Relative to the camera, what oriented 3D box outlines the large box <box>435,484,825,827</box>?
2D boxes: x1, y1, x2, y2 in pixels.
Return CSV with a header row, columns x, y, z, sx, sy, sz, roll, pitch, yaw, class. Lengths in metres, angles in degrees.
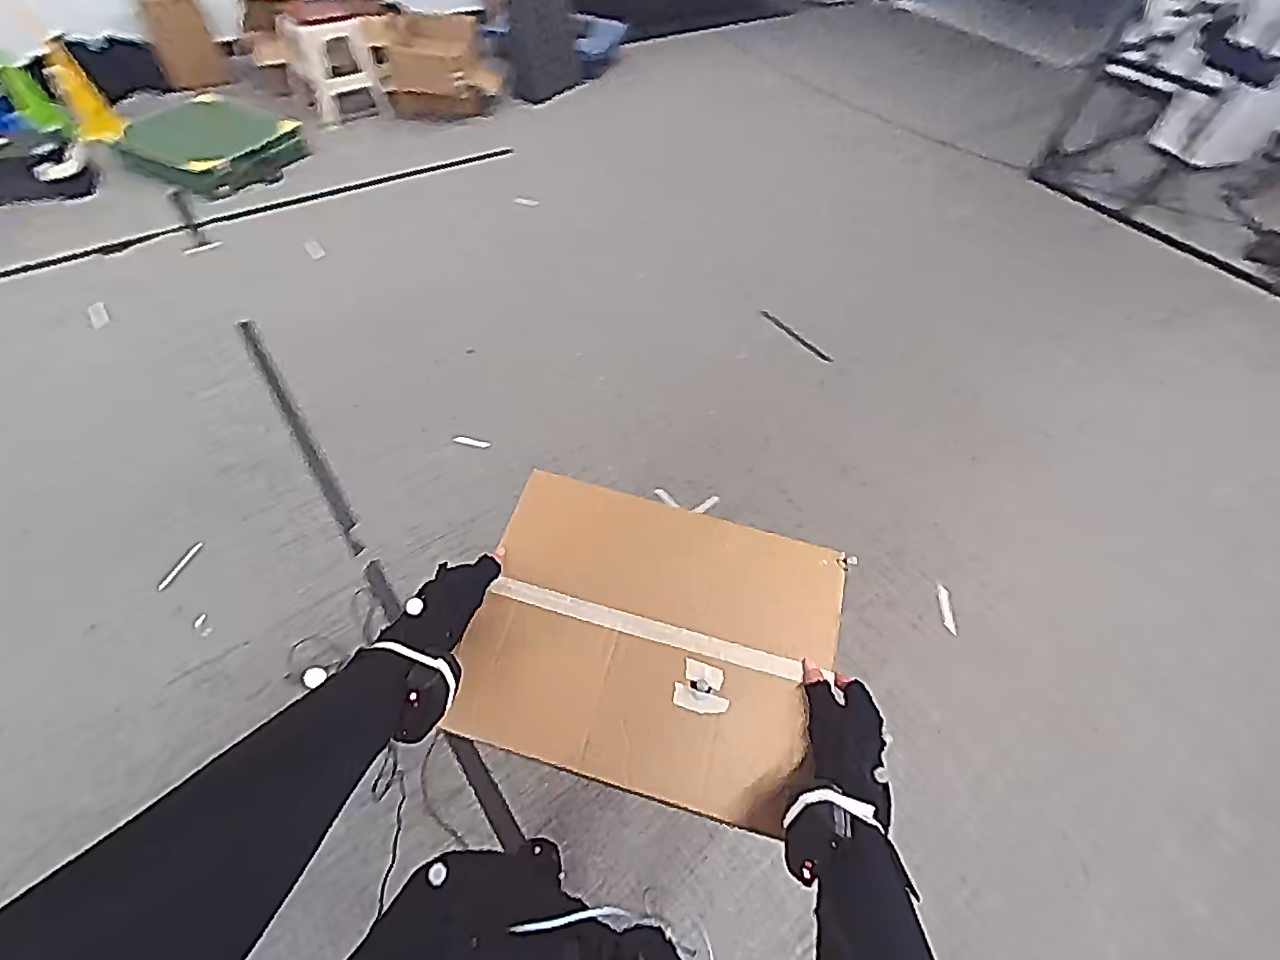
x,y,z,sx,sy,sz,roll,pitch,yaw,class
-0.002,0.247,0.756,0.408,0.320,0.320,14,63,4,large box
